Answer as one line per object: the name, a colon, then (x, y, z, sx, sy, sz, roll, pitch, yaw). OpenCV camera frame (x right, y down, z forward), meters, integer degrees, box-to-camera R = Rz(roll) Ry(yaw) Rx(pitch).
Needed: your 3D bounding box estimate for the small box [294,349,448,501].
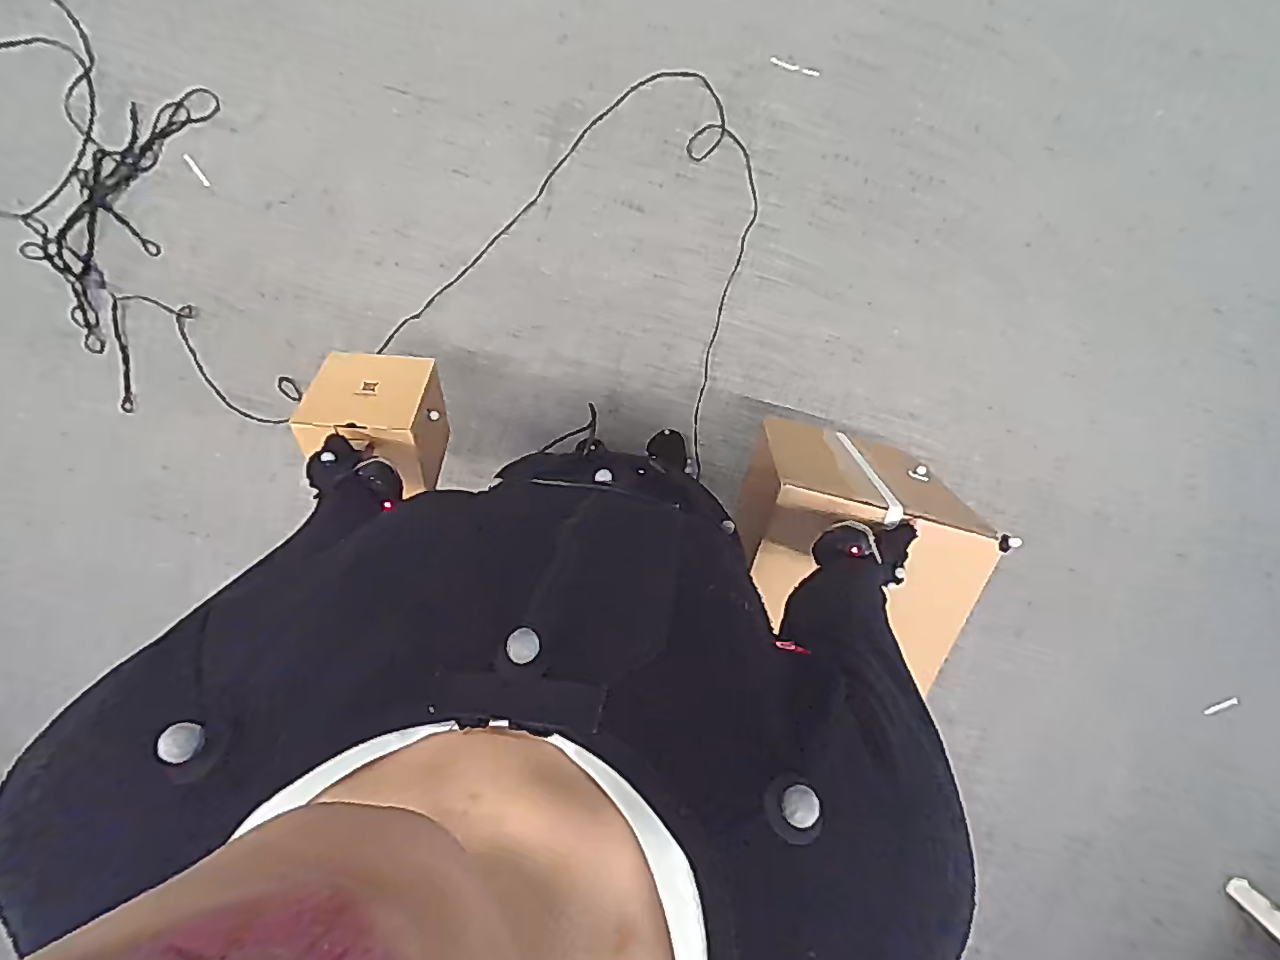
small box: (-0.420, -0.089, 0.882, 0.168, 0.179, 0.176, 3, 138, -6)
